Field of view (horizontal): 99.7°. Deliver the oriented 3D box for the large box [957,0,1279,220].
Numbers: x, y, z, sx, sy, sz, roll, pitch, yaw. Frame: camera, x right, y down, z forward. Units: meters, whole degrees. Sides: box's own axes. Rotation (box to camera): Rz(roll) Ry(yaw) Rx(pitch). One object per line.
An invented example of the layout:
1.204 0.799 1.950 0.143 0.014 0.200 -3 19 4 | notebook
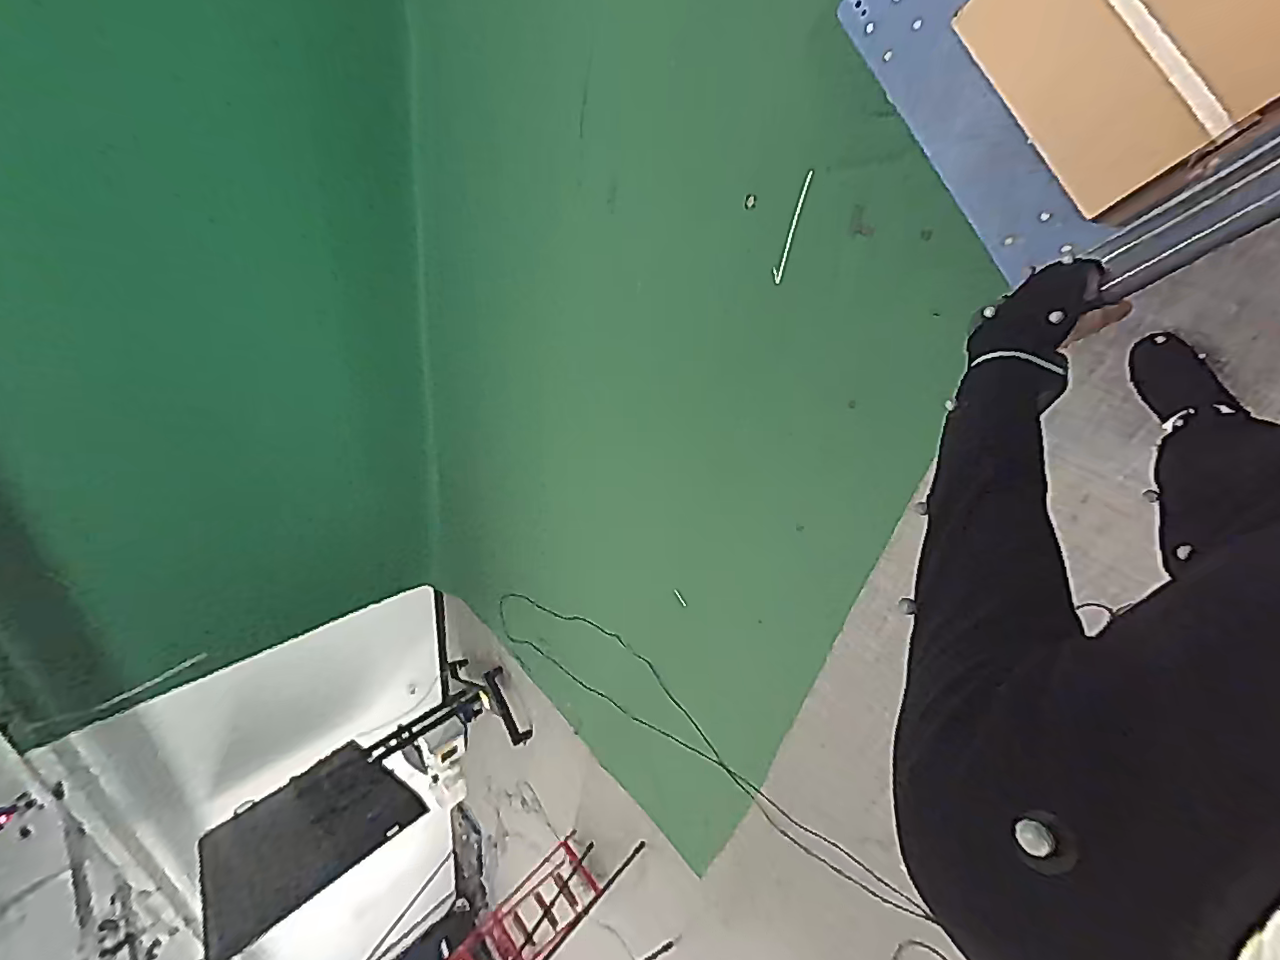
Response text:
0.808 -0.687 0.860 0.320 0.320 0.408 -36 79 47 | large box
